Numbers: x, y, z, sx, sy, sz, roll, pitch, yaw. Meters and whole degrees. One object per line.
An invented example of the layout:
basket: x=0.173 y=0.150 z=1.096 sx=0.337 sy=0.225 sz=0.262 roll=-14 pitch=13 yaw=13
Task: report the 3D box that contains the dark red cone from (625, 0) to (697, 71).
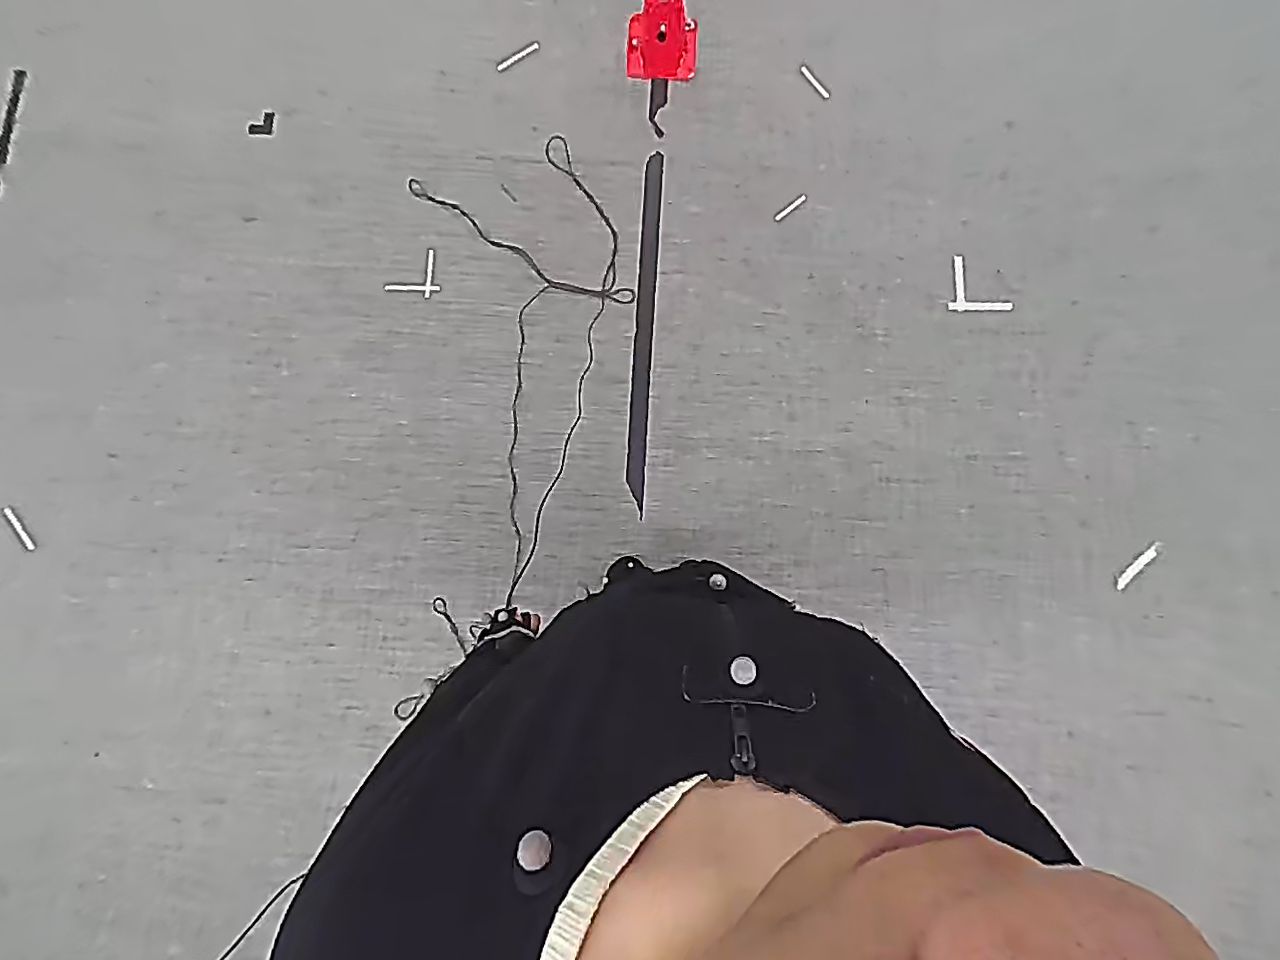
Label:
dark red cone: x=0.056 y=-1.271 z=1.367 sx=0.201 sy=0.394 sz=0.202 roll=2 pitch=84 yaw=1
